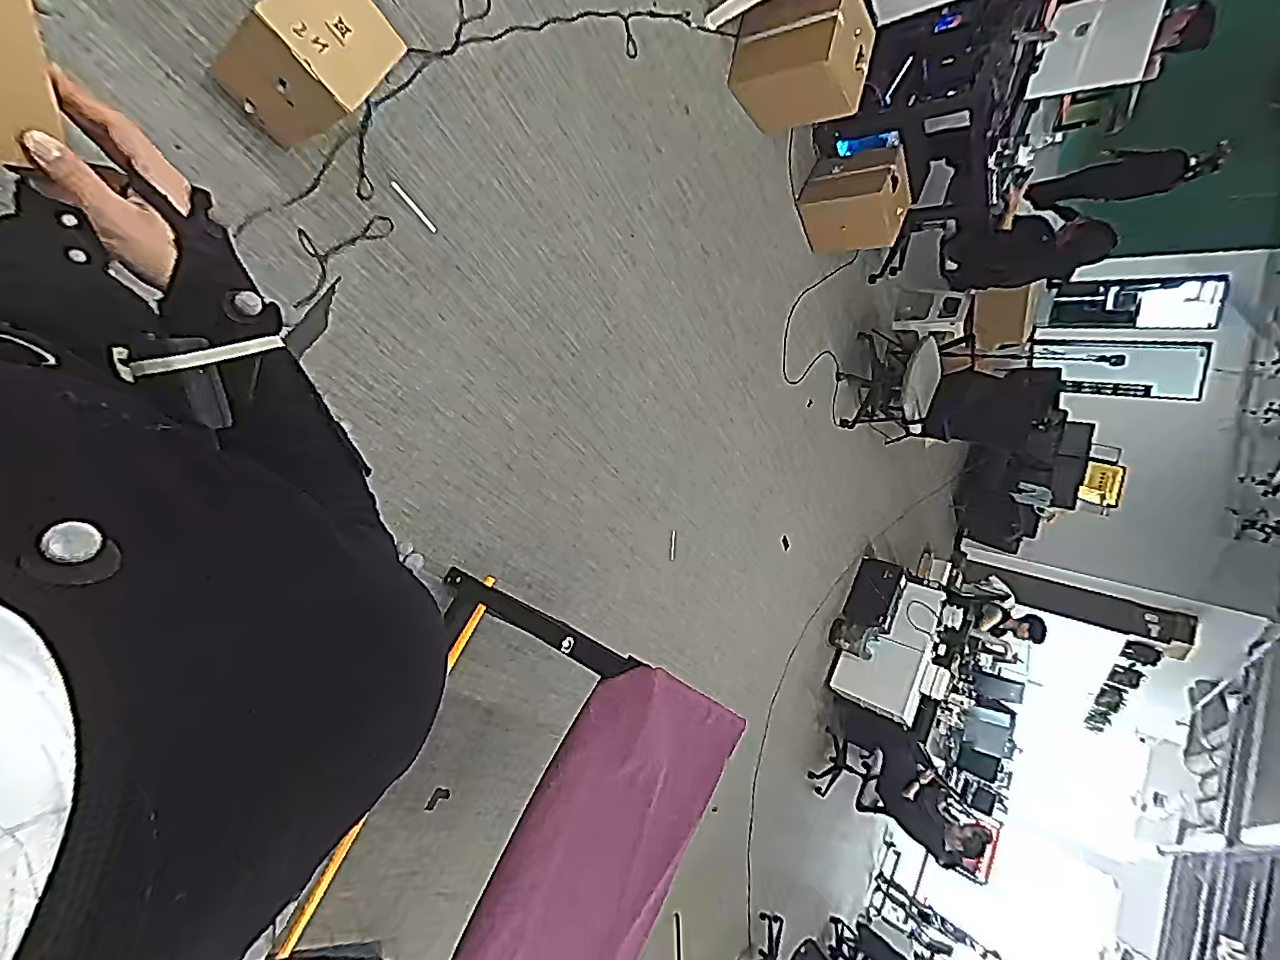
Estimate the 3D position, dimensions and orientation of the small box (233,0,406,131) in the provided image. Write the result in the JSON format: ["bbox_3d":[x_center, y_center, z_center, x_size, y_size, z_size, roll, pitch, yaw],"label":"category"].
[{"bbox_3d":[-0.549,-0.744,0.924,0.168,0.176,0.179,45,68,-45],"label":"small box"}]

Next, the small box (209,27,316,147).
[{"bbox_3d":[-0.672,-0.776,1.029,0.168,0.176,0.179,47,66,-45],"label":"small box"}]
